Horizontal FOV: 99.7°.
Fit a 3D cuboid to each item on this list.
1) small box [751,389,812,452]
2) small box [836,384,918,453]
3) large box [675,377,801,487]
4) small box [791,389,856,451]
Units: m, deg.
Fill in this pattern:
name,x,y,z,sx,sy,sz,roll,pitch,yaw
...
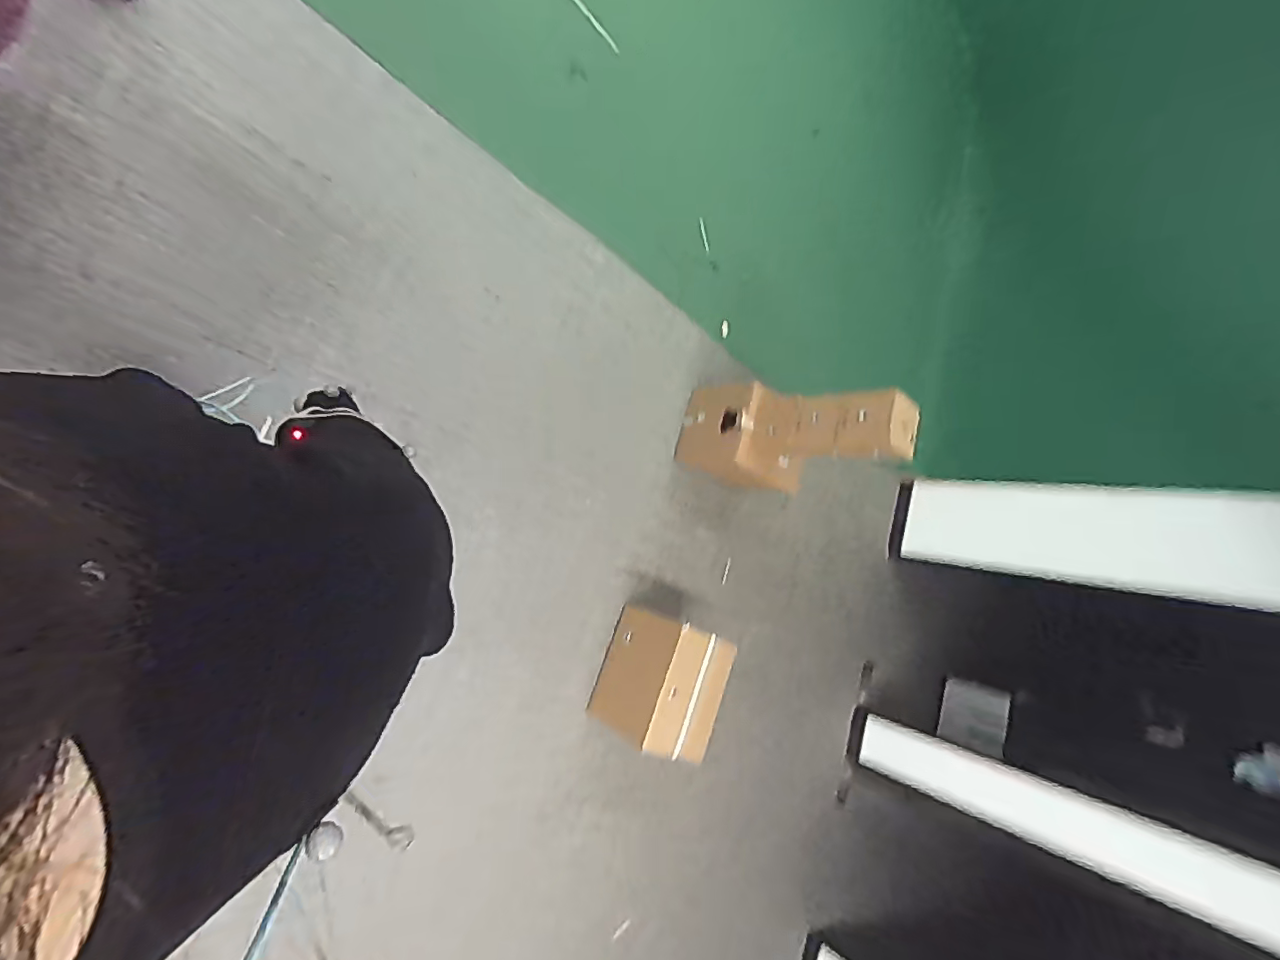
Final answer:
name,x,y,z,sx,sy,sz,roll,pitch,yaw
small box,0.516,-0.205,1.928,0.168,0.176,0.179,22,77,-40
small box,0.734,-0.185,1.683,0.179,0.176,0.168,20,80,-40
large box,0.402,-0.179,2.154,0.408,0.320,0.320,24,77,-40
small box,0.628,-0.195,1.809,0.179,0.176,0.168,17,82,-41
